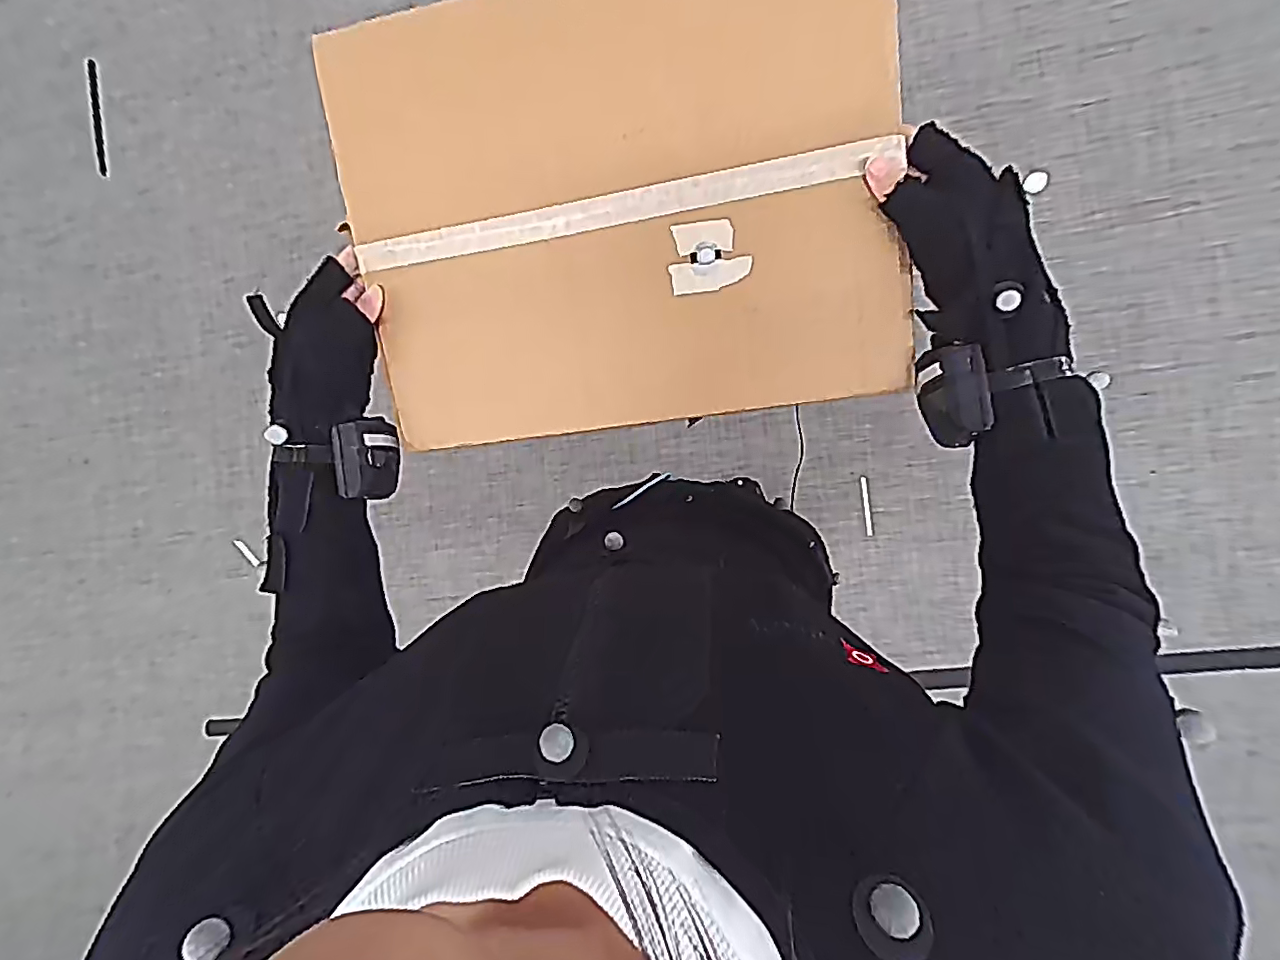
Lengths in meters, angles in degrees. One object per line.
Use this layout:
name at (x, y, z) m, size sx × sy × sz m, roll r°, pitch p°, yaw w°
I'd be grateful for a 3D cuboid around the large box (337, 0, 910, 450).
large box at (0.002, -0.228, 0.551) m, size 0.408 × 0.320 × 0.320 m, roll -7°, pitch 101°, yaw 9°
